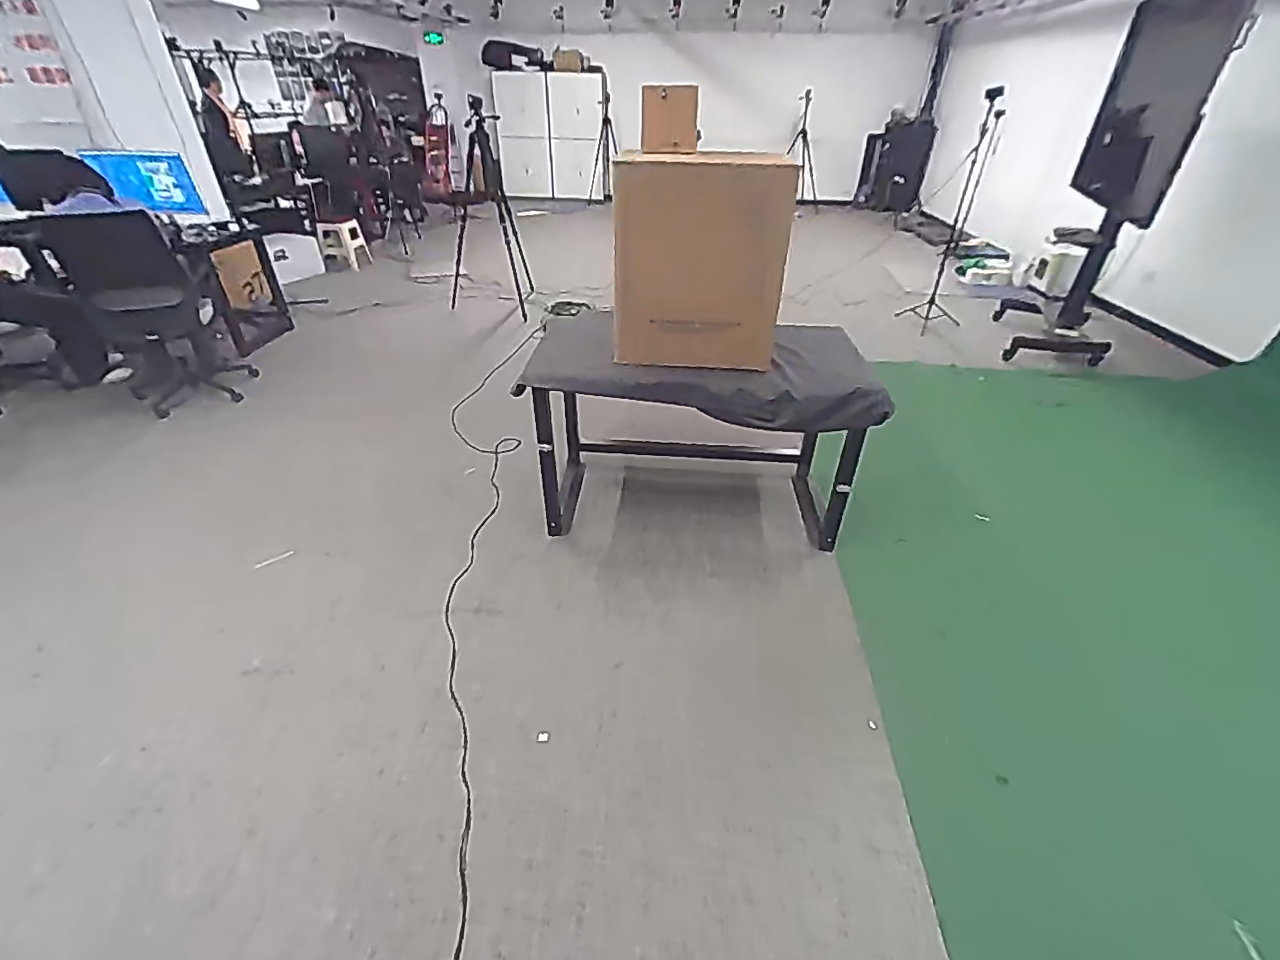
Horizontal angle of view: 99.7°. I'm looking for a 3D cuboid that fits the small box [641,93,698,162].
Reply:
[{"bbox_3d":[0.091,-1.086,1.671,0.168,0.176,0.179,3,33,4],"label":"small box"}]
